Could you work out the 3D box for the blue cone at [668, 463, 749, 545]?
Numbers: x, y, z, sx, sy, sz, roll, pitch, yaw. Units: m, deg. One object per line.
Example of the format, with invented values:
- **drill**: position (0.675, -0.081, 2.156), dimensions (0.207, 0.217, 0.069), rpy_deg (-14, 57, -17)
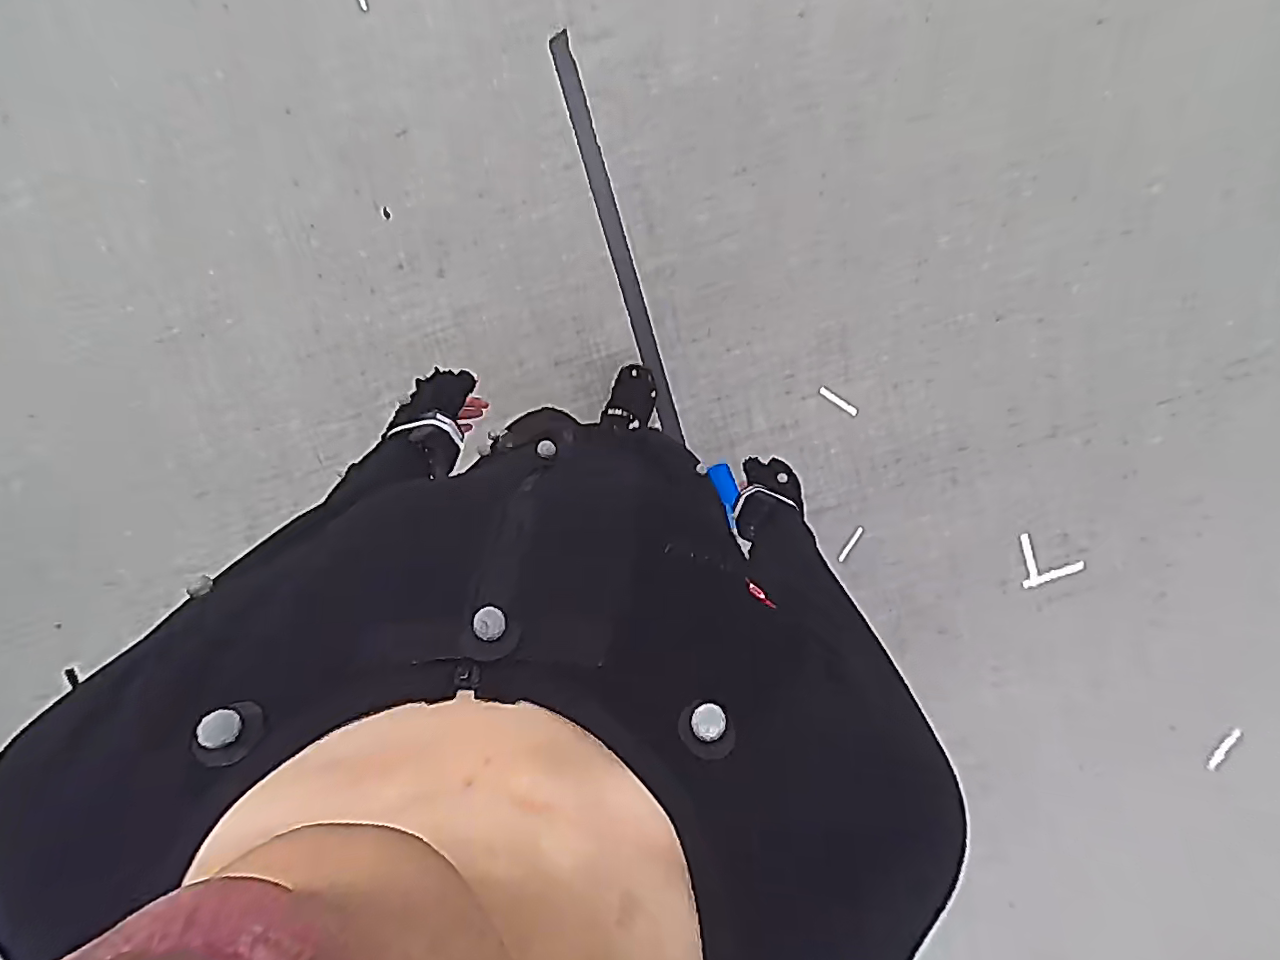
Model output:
- **blue cone**: position (0.188, 0.094, 1.310), dimensions (0.192, 0.380, 0.193), rpy_deg (-21, 99, 2)
